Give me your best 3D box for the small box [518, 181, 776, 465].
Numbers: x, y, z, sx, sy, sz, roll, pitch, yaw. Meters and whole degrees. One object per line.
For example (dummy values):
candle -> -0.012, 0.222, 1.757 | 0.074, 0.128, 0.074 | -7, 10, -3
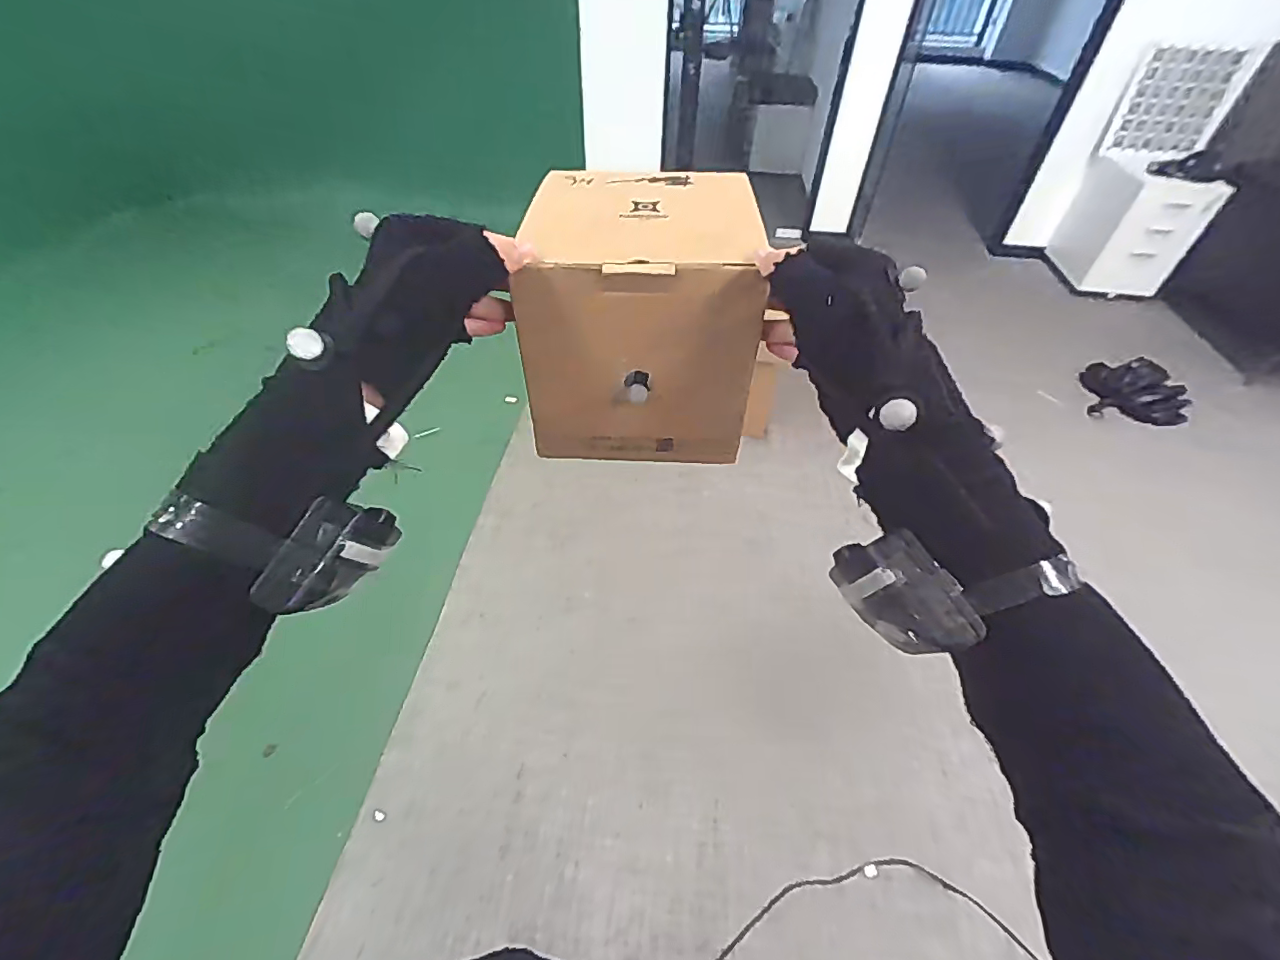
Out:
small box -> 0.009, -0.129, 0.449 | 0.168, 0.176, 0.179 | 3, 46, 2
